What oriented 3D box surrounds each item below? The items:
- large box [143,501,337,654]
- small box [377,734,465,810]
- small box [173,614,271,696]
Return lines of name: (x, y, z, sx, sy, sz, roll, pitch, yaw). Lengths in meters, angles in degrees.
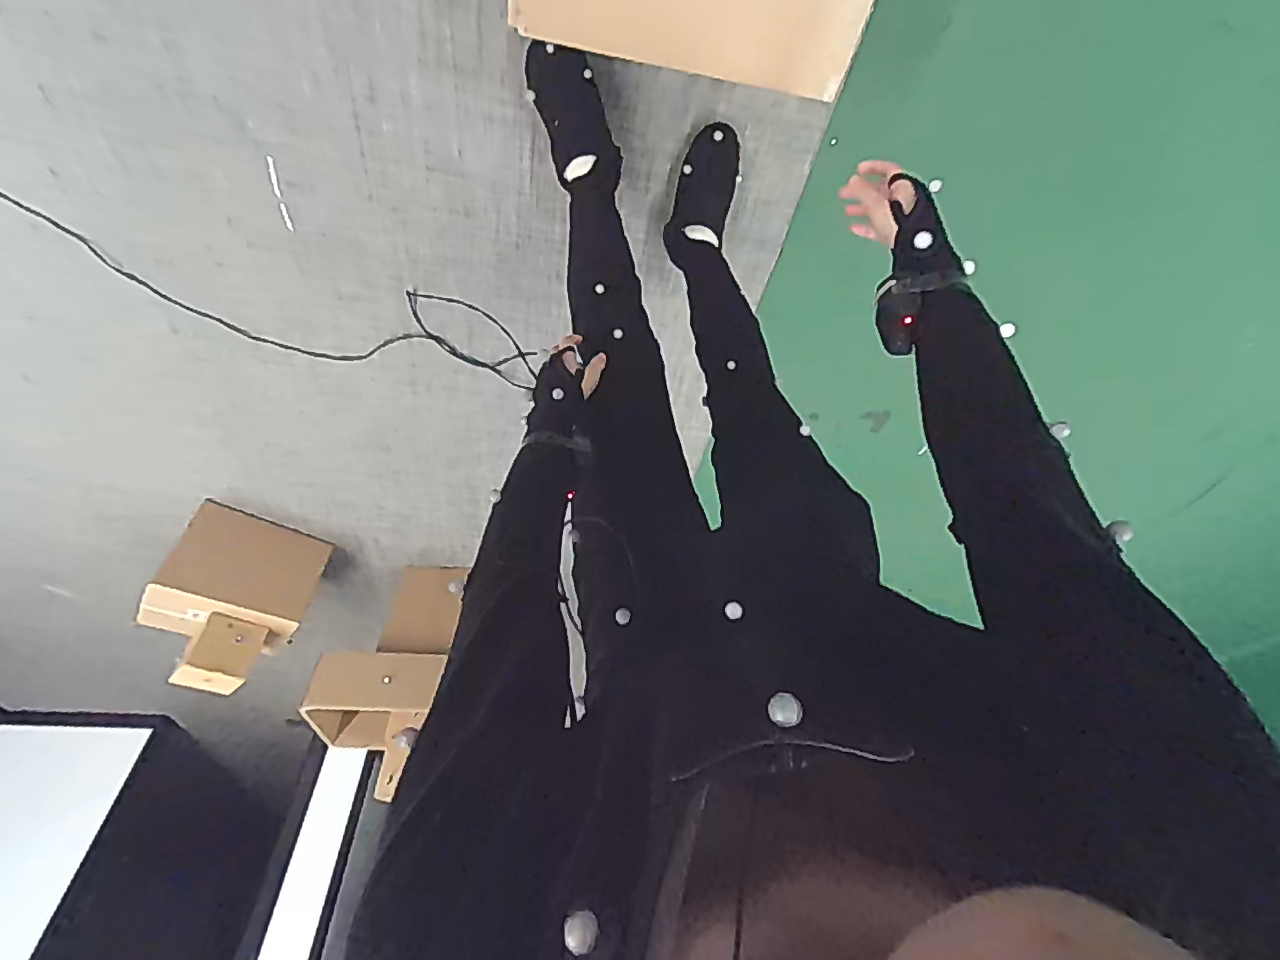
large box: (-1.306, 0.333, 1.796, 0.408, 0.320, 0.320, 30, 130, -28)
small box: (-0.671, 0.909, 1.682, 0.179, 0.176, 0.168, -14, 137, 13)
small box: (-1.277, 0.538, 1.660, 0.168, 0.176, 0.179, 33, 129, -32)
